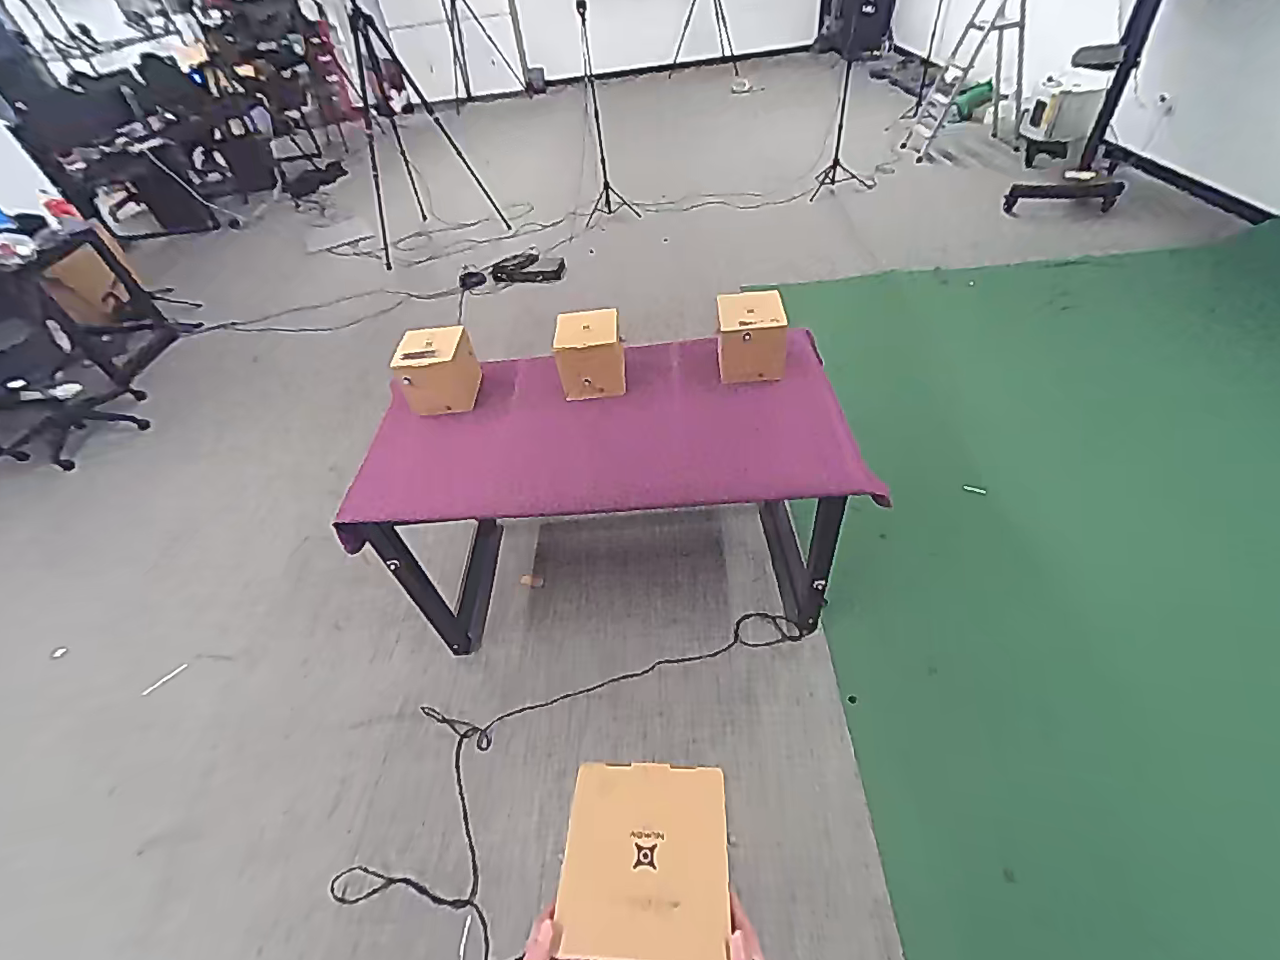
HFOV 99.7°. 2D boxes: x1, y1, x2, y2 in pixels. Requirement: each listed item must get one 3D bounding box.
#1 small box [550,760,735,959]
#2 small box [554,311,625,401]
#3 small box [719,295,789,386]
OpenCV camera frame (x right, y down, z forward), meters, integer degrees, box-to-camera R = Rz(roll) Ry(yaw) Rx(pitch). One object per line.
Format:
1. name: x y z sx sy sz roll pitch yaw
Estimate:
1. small box: 0.011 0.433 0.580 0.168 0.176 0.179 0 35 6
2. small box: -0.131 -0.336 1.473 0.168 0.176 0.179 -5 46 3
3. small box: 0.297 -0.372 1.444 0.168 0.176 0.179 -3 46 7
